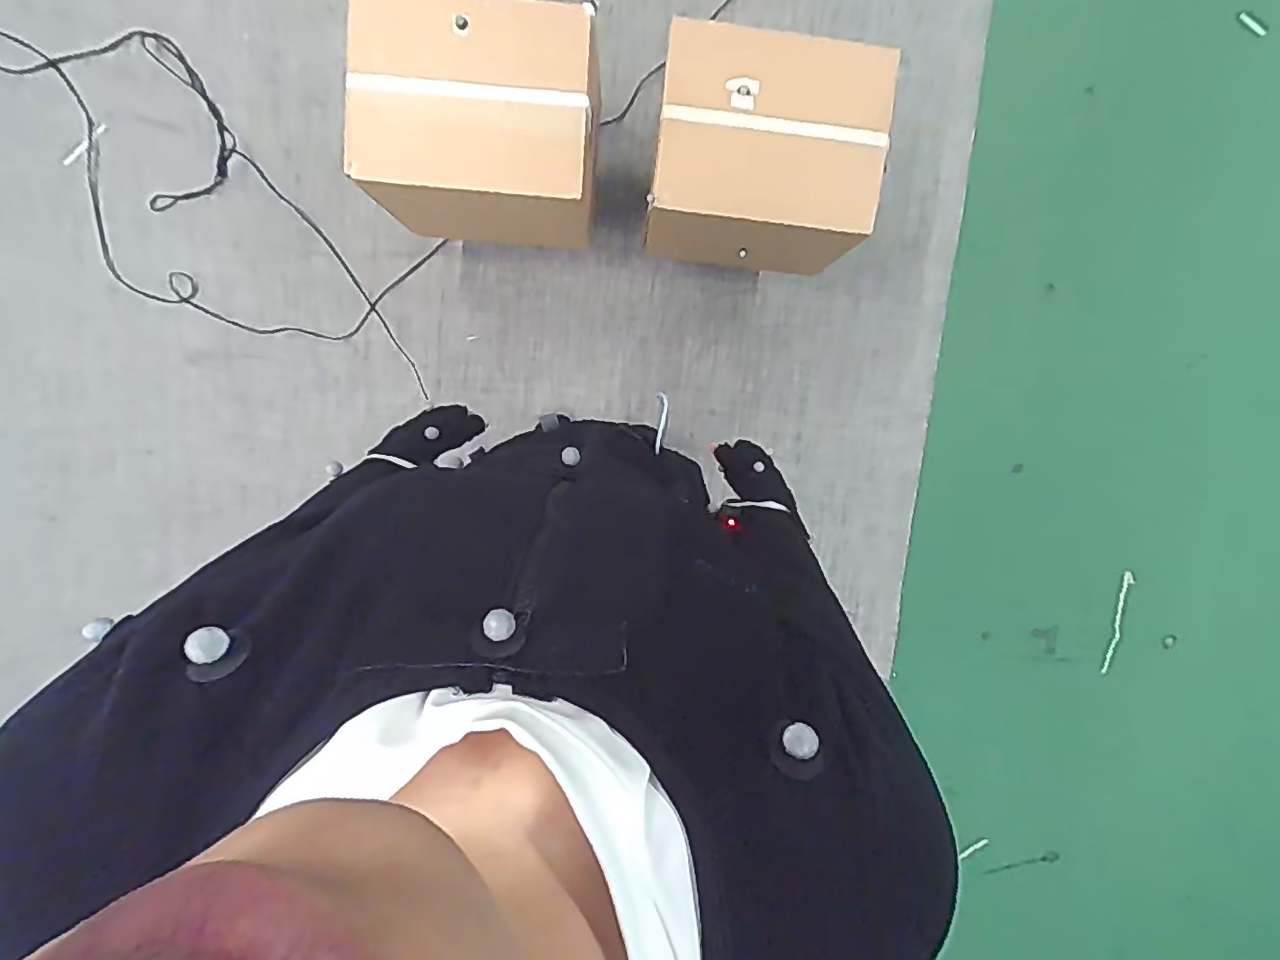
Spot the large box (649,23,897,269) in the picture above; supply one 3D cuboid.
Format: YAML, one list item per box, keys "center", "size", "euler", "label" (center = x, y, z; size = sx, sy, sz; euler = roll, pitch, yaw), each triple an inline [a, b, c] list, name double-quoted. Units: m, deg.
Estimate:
- center: [0.238, -0.642, 1.107]
  size: [0.408, 0.320, 0.320]
  euler: [7, 97, -2]
  label: "large box"
